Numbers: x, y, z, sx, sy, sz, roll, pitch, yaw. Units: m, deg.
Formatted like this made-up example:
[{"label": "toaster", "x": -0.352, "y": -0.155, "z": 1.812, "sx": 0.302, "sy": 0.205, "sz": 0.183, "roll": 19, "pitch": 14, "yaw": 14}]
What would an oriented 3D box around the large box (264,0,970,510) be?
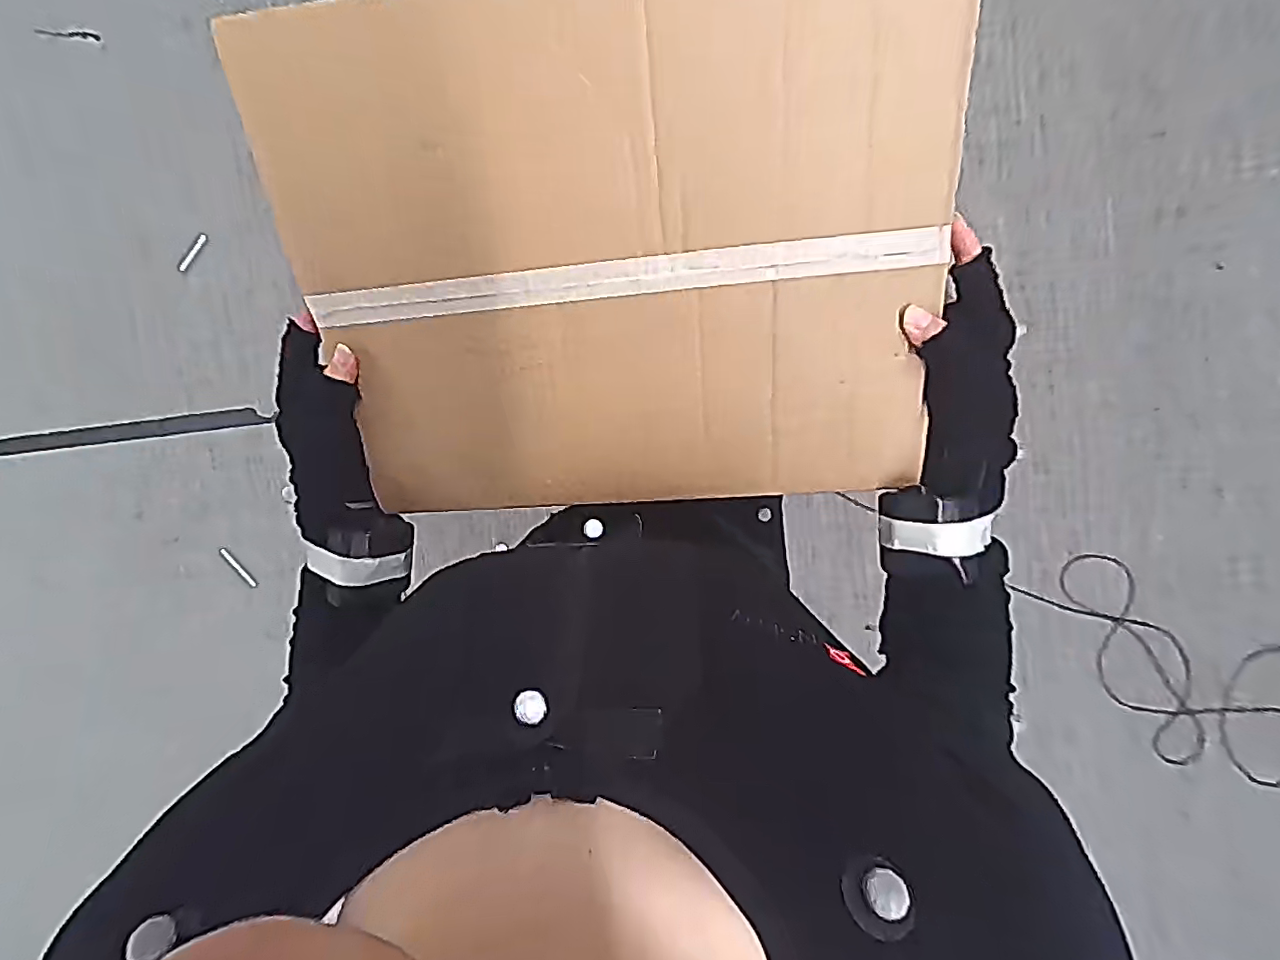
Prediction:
[{"label": "large box", "x": -0.001, "y": -0.189, "z": 0.488, "sx": 0.408, "sy": 0.320, "sz": 0.320, "roll": -3, "pitch": 116, "yaw": 7}]
